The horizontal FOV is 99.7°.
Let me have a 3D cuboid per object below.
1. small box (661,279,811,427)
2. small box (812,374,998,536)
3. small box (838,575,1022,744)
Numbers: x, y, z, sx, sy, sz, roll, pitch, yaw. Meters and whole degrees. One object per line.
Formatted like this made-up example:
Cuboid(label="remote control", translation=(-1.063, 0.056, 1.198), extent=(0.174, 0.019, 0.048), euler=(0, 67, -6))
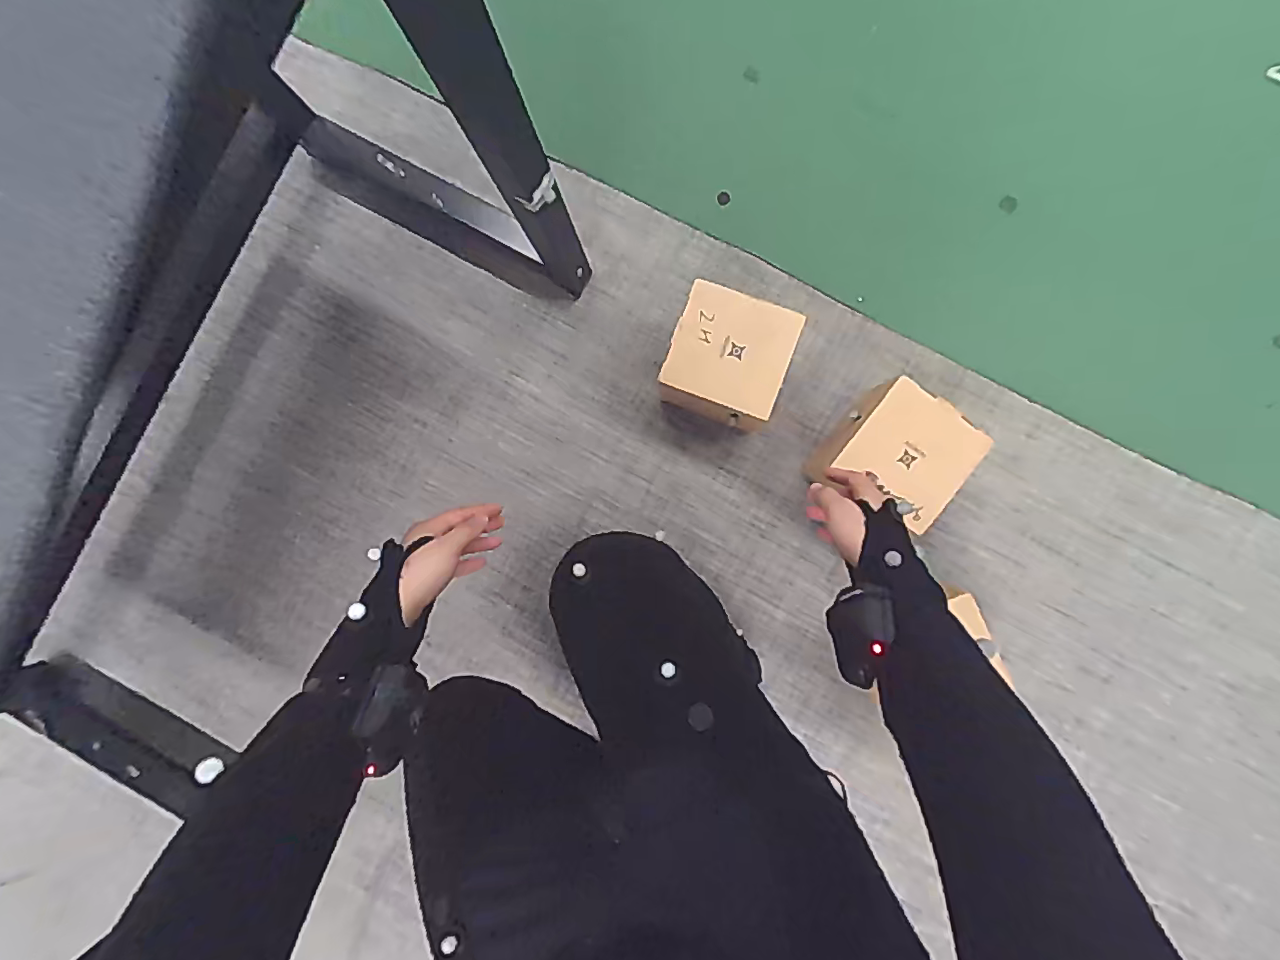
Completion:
Cuboid(label="small box", translation=(0.145, -0.191, 0.868), extent=(0.179, 0.176, 0.168), euler=(21, 91, 4))
Cuboid(label="small box", translation=(0.398, -0.037, 0.851), extent=(0.168, 0.176, 0.179), euler=(38, 92, 2))
Cuboid(label="small box", translation=(0.439, 0.269, 0.849), extent=(0.168, 0.176, 0.179), euler=(-23, 88, 3))
